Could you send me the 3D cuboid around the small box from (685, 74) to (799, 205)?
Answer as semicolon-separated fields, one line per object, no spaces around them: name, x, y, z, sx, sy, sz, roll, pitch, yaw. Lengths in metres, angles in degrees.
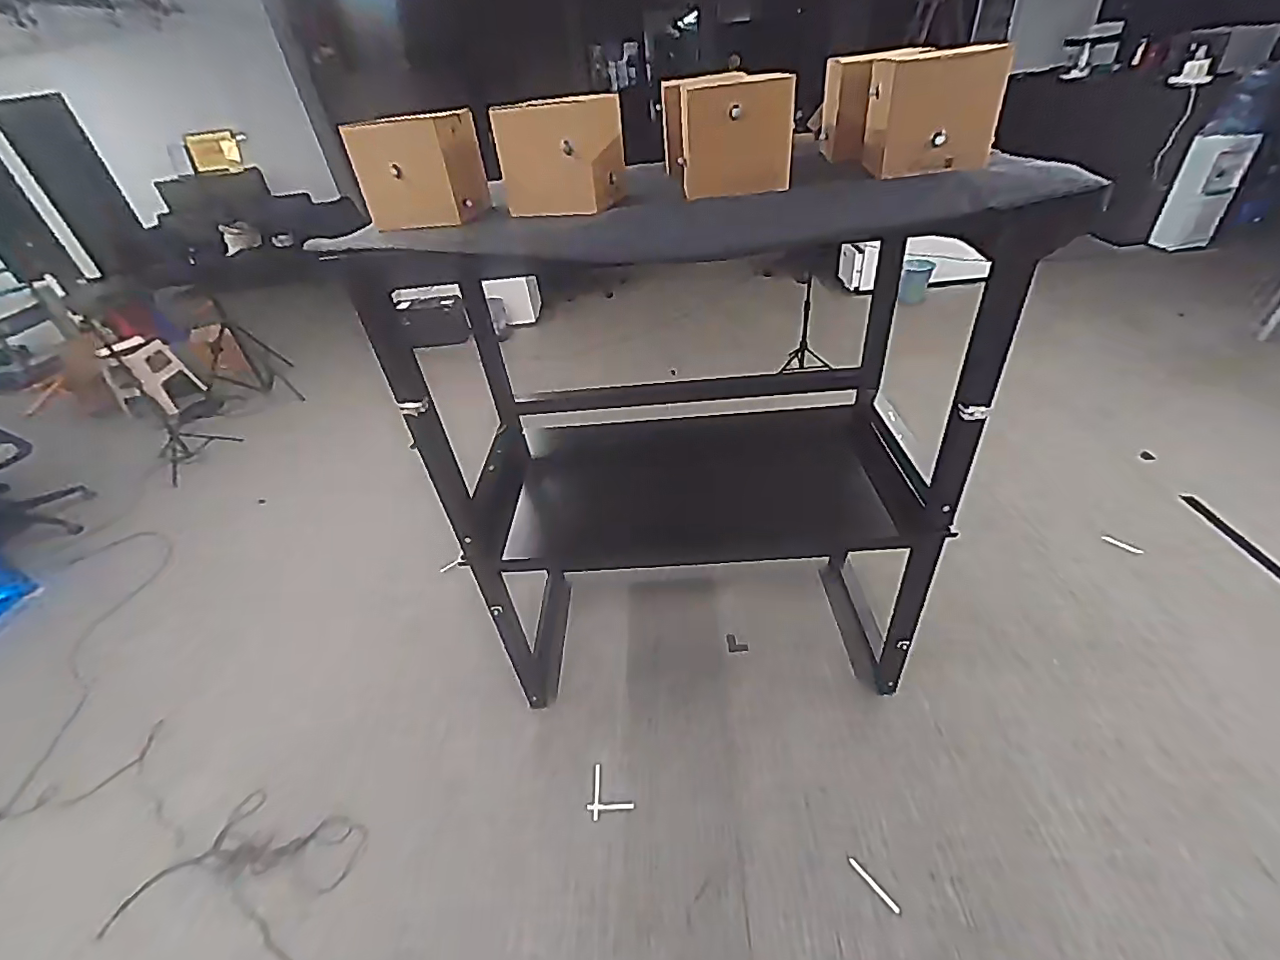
small box;0.173;-0.604;0.961;0.179;0.176;0.168;-5;38;4

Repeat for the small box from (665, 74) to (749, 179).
small box;0.141;-0.757;1.159;0.168;0.176;0.179;-5;38;5

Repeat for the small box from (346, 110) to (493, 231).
small box;-0.396;-0.577;1.011;0.179;0.176;0.168;0;37;10

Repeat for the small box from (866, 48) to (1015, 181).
small box;0.495;-0.622;0.926;0.168;0.176;0.179;0;38;10
